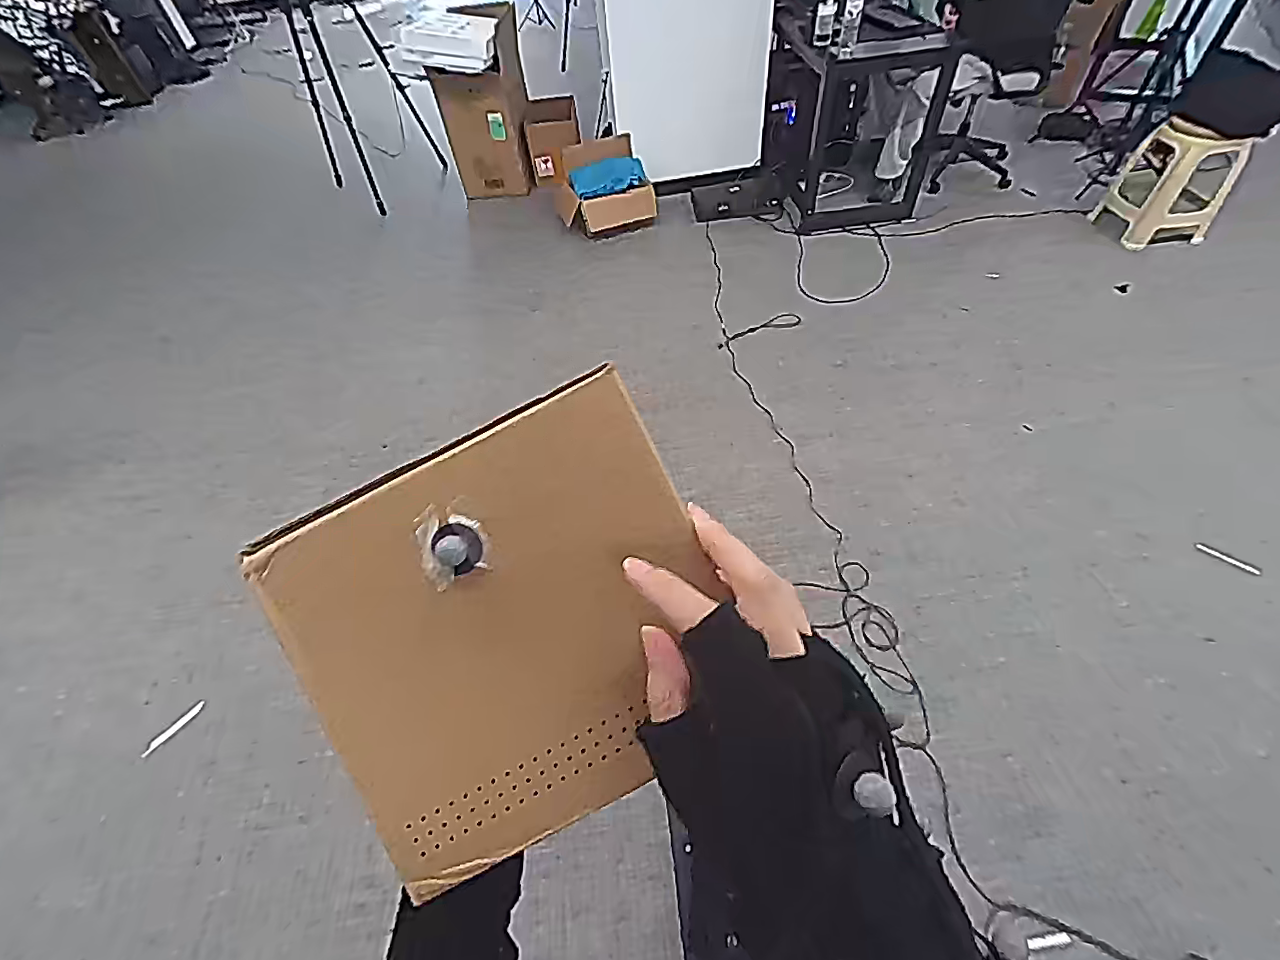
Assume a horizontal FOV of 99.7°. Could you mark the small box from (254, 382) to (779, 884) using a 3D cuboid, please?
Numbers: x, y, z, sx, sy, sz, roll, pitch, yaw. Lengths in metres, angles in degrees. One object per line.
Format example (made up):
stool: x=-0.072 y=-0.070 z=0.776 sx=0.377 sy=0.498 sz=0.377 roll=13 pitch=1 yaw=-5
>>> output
small box: x=-0.051 y=0.070 z=0.307 sx=0.179 sy=0.168 sz=0.176 roll=-27 pitch=91 yaw=-1
